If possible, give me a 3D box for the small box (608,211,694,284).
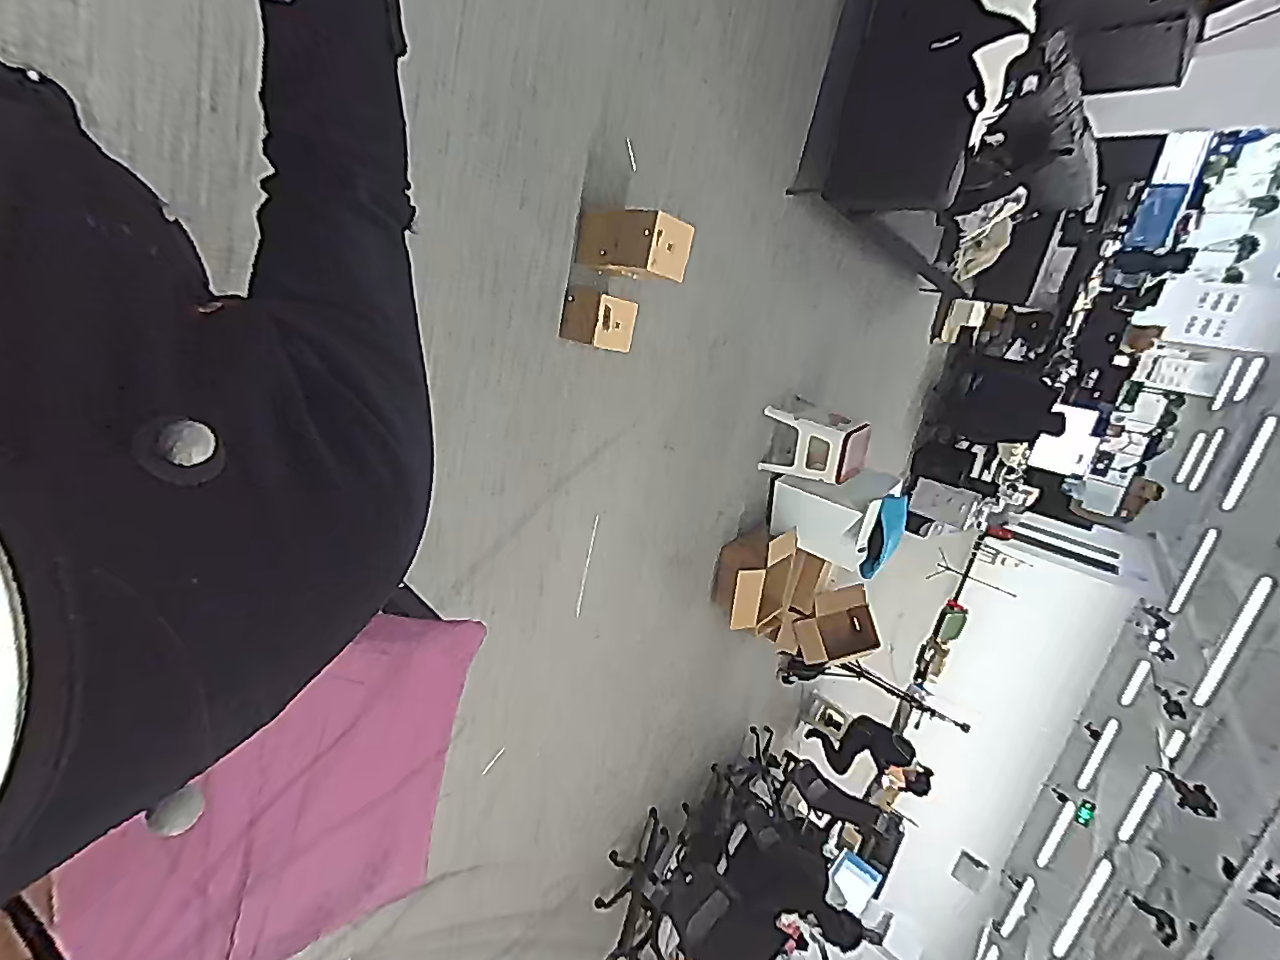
[{"bbox_3d":[0.032,-0.716,1.660,0.179,0.176,0.168,-3,111,-49],"label":"small box"}]

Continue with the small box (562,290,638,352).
[{"bbox_3d":[-0.138,-0.535,1.819,0.179,0.176,0.168,-5,113,-49],"label":"small box"}]

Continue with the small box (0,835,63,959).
[{"bbox_3d":[-0.711,0.515,0.543,0.168,0.176,0.179,5,105,-51],"label":"small box"}]
